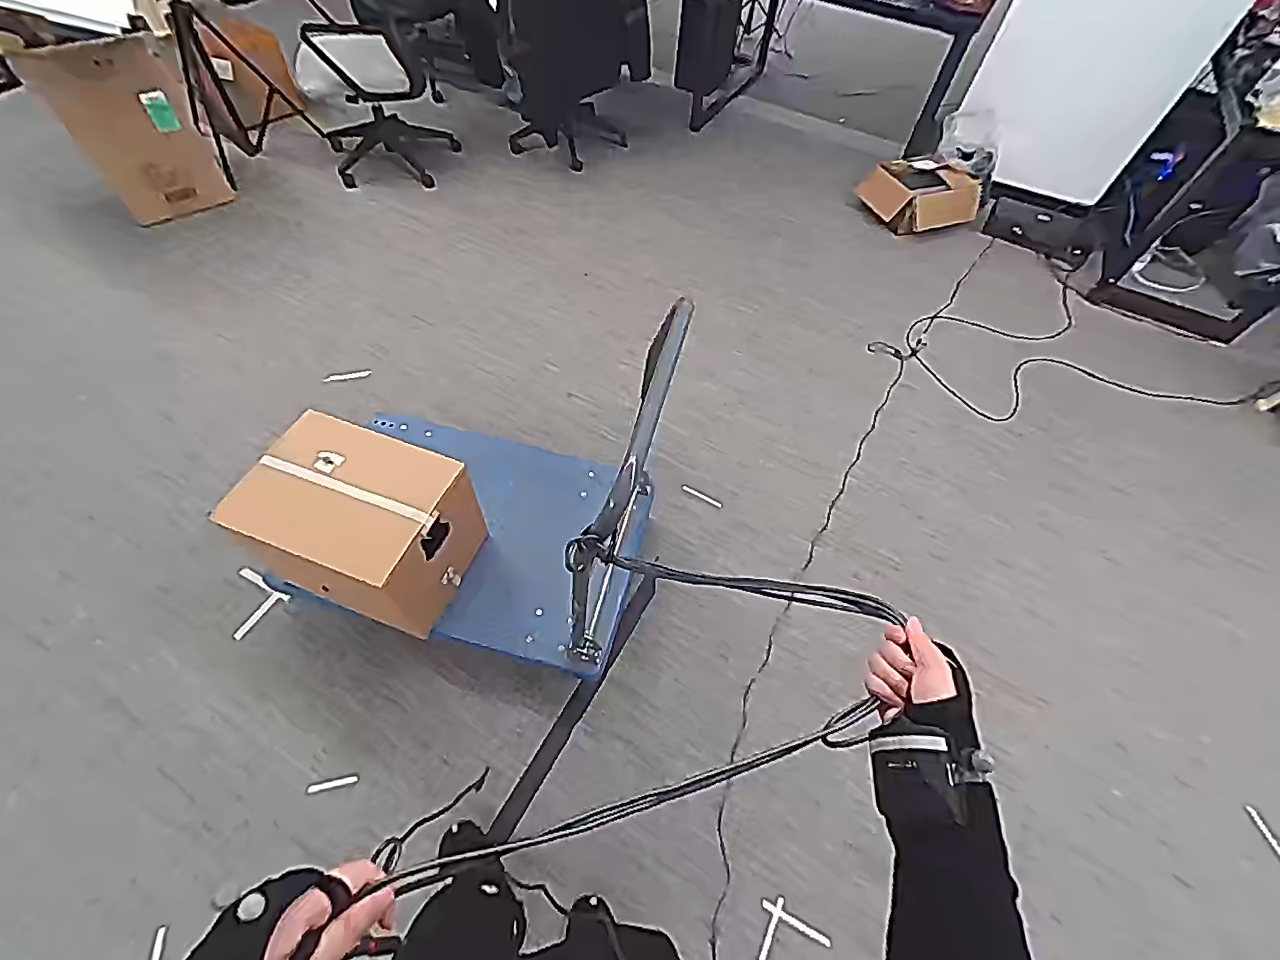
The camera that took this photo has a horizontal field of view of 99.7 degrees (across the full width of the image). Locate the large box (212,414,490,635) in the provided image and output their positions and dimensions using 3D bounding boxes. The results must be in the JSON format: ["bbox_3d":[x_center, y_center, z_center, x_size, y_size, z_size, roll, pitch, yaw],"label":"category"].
[{"bbox_3d":[-0.617,0.108,1.241,0.408,0.320,0.320,19,56,9],"label":"large box"}]
